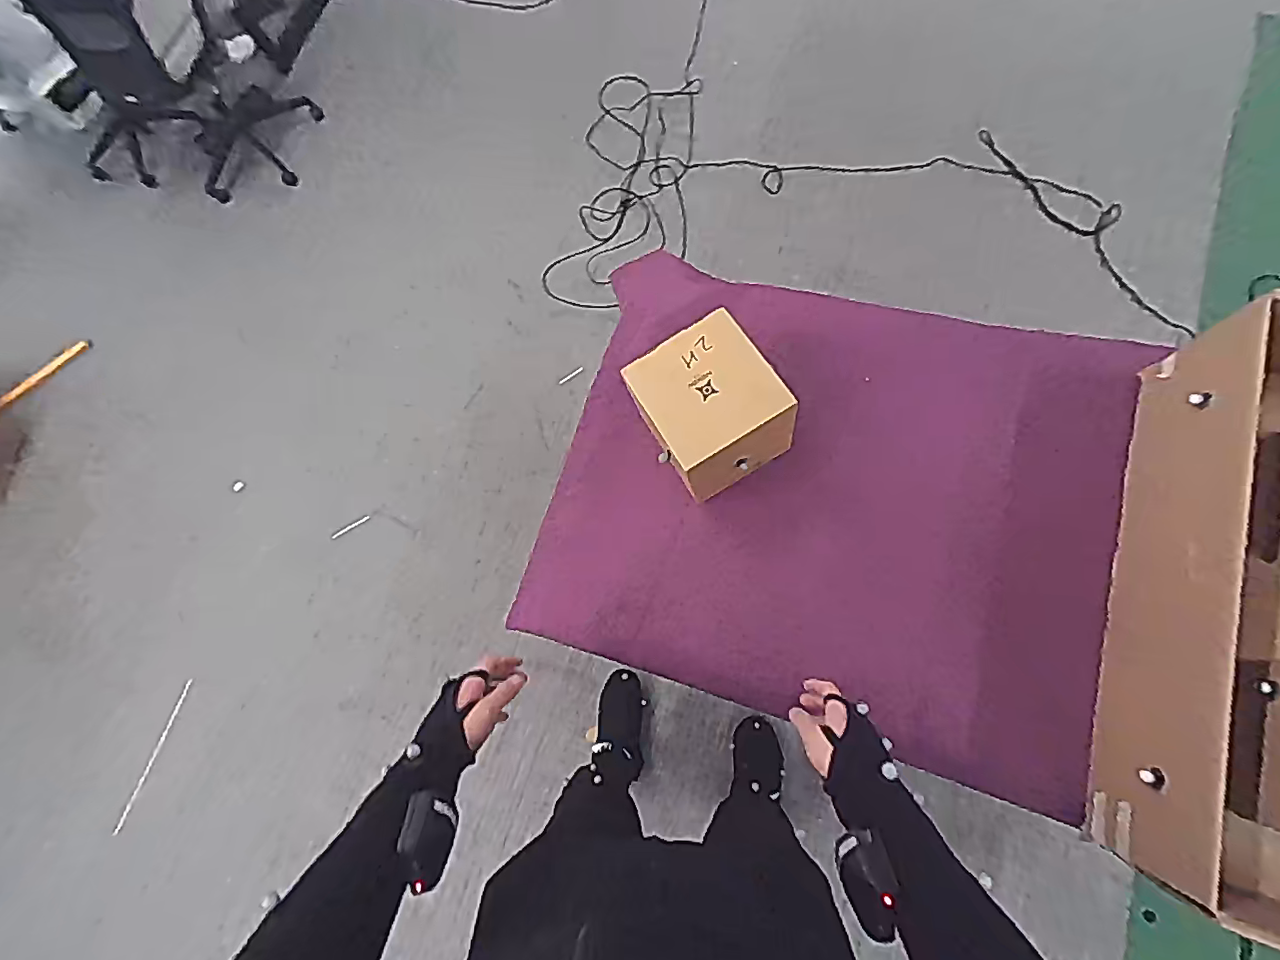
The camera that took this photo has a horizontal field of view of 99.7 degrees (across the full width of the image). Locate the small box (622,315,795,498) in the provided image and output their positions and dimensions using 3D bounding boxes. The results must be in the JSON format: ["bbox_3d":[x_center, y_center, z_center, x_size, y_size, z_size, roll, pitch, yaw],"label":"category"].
[{"bbox_3d":[0.100,-0.091,0.772,0.168,0.176,0.179,-31,69,0],"label":"small box"}]
